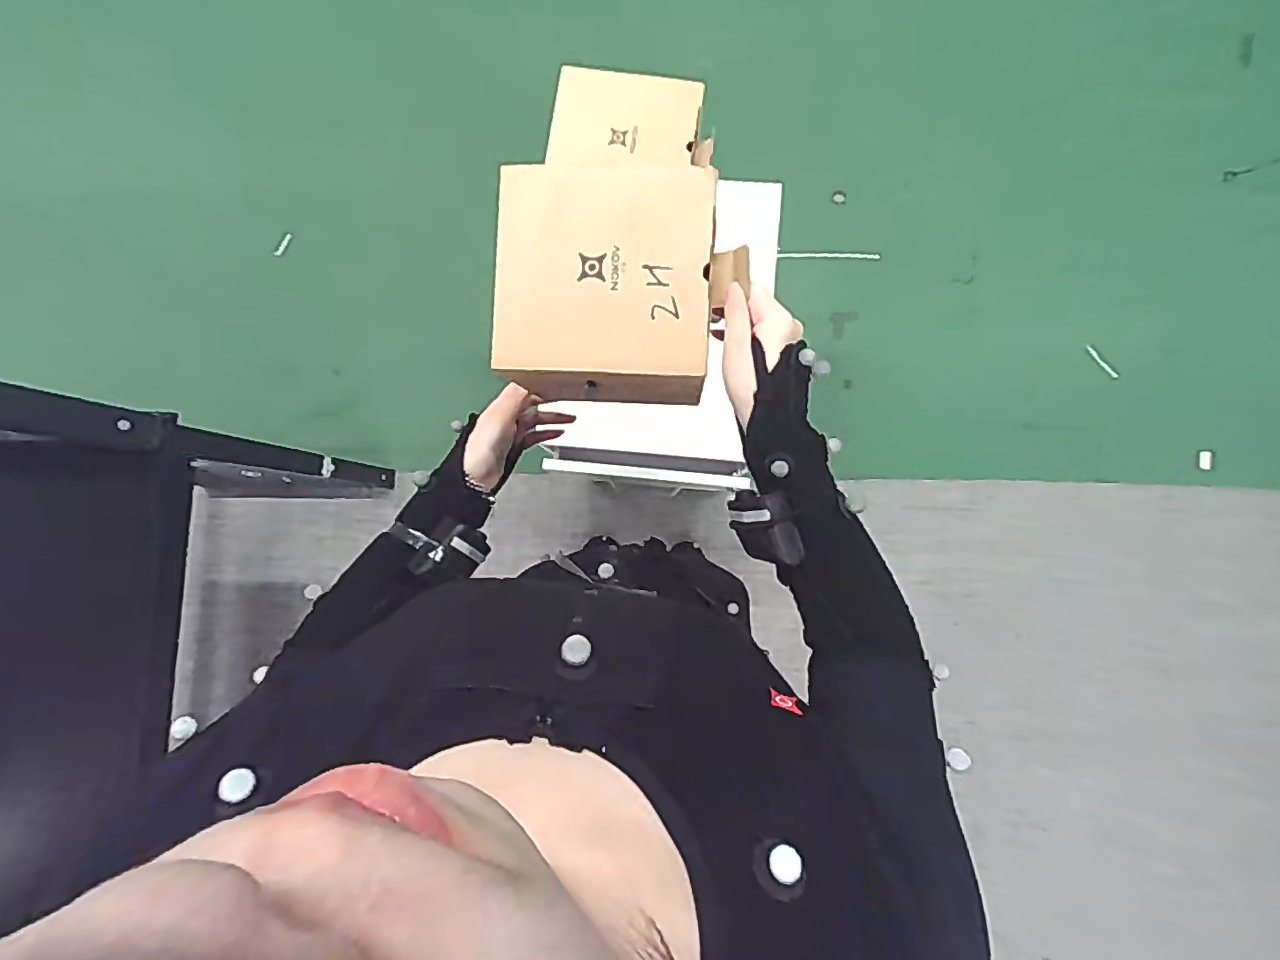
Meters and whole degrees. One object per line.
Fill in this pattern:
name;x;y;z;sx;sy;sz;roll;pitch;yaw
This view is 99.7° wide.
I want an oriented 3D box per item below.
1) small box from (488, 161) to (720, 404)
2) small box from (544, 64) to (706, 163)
small box;-0.023;-0.163;0.497;0.179;0.176;0.168;3;91;4
small box;-0.018;-0.393;0.708;0.179;0.176;0.168;8;85;2
